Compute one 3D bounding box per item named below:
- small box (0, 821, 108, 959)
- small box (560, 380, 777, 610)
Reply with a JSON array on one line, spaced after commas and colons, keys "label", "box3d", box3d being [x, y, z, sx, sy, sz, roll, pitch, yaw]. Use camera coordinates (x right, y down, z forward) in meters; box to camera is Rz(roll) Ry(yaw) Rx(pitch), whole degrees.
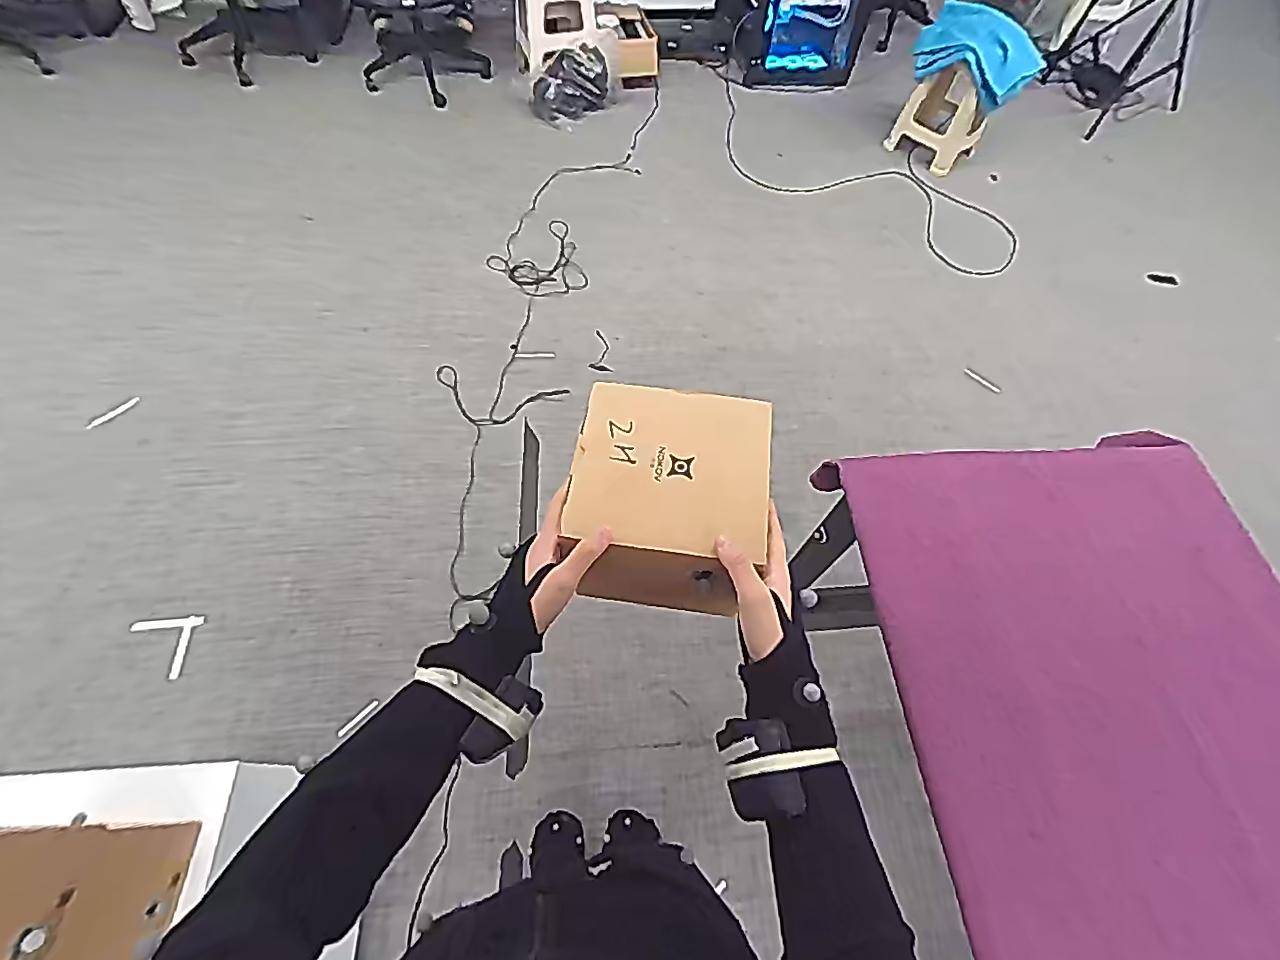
[{"label": "small box", "box3d": [-0.637, 0.393, 0.458, 0.179, 0.176, 0.168, 0, 61, -4]}, {"label": "small box", "box3d": [0.031, 0.024, 0.546, 0.179, 0.176, 0.168, 7, 62, 4]}]
